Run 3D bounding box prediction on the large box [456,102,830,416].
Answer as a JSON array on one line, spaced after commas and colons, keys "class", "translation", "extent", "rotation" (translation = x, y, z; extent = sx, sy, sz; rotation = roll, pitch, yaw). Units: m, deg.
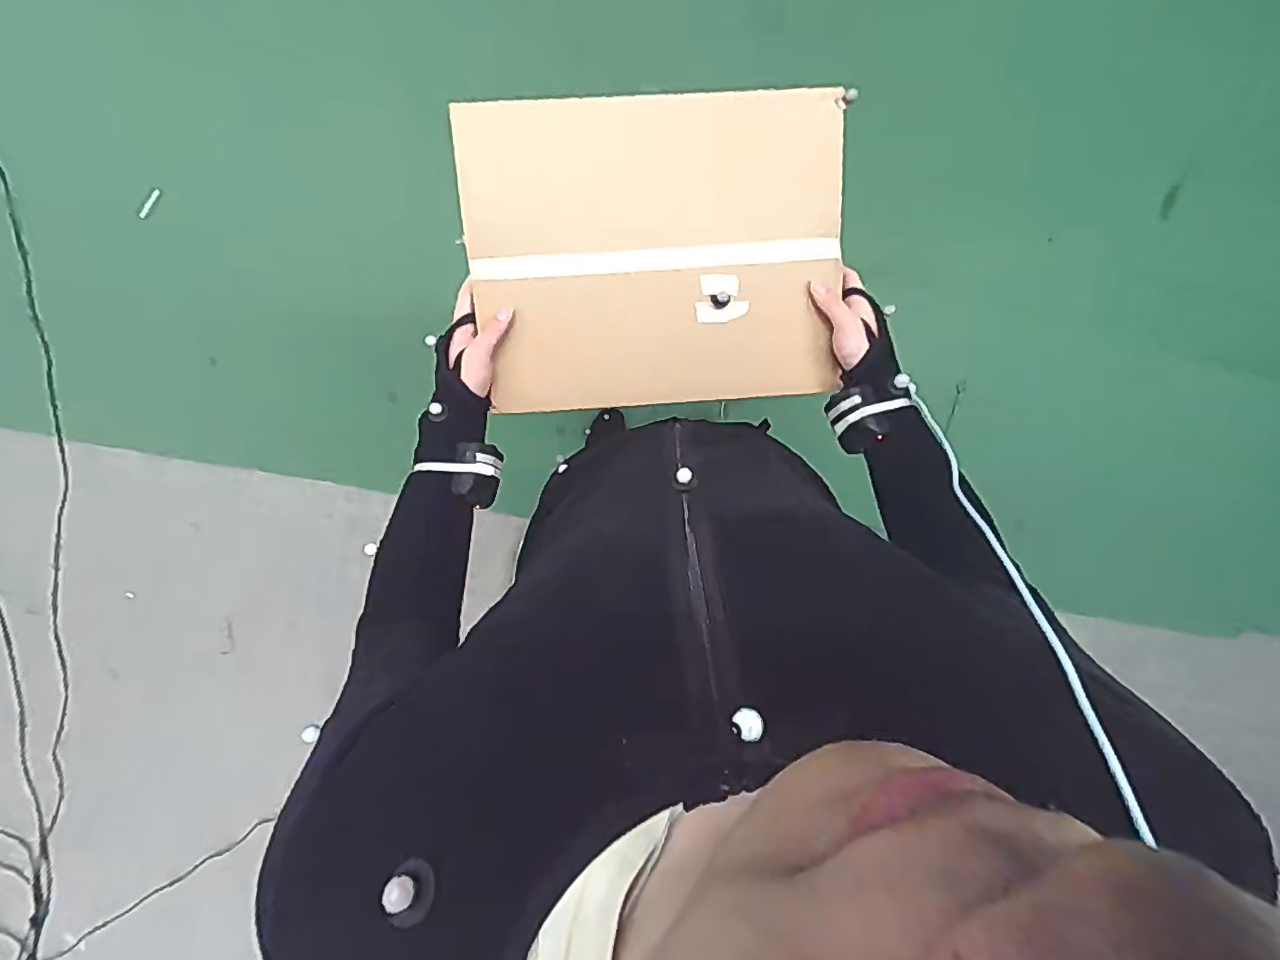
[{"class": "large box", "translation": [0.004, -0.272, 0.746], "extent": [0.408, 0.320, 0.320], "rotation": [-4, 104, -3]}]
